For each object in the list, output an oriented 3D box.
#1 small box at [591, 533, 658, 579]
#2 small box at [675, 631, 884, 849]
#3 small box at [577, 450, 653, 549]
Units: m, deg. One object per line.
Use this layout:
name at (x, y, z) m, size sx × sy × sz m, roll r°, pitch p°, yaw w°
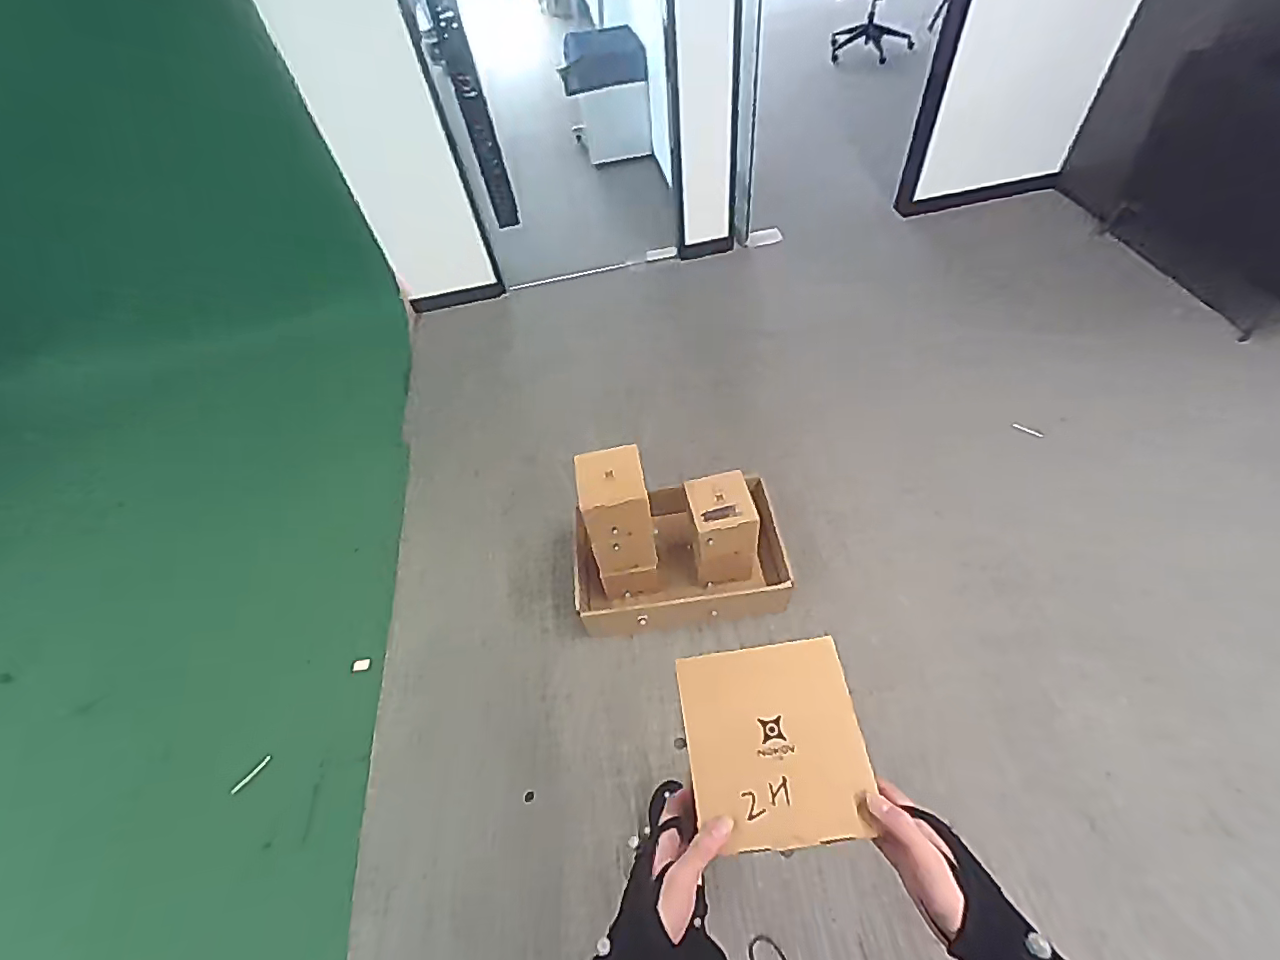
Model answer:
small box at (-0.046, 0.153, 1.518) m, size 0.168 × 0.176 × 0.179 m, roll -10°, pitch 50°, yaw 1°
small box at (0.133, 0.279, 0.580) m, size 0.168 × 0.176 × 0.179 m, roll -10°, pitch 59°, yaw 4°
small box at (-0.064, 0.051, 1.392) m, size 0.168 × 0.176 × 0.179 m, roll -11°, pitch 52°, yaw -1°
